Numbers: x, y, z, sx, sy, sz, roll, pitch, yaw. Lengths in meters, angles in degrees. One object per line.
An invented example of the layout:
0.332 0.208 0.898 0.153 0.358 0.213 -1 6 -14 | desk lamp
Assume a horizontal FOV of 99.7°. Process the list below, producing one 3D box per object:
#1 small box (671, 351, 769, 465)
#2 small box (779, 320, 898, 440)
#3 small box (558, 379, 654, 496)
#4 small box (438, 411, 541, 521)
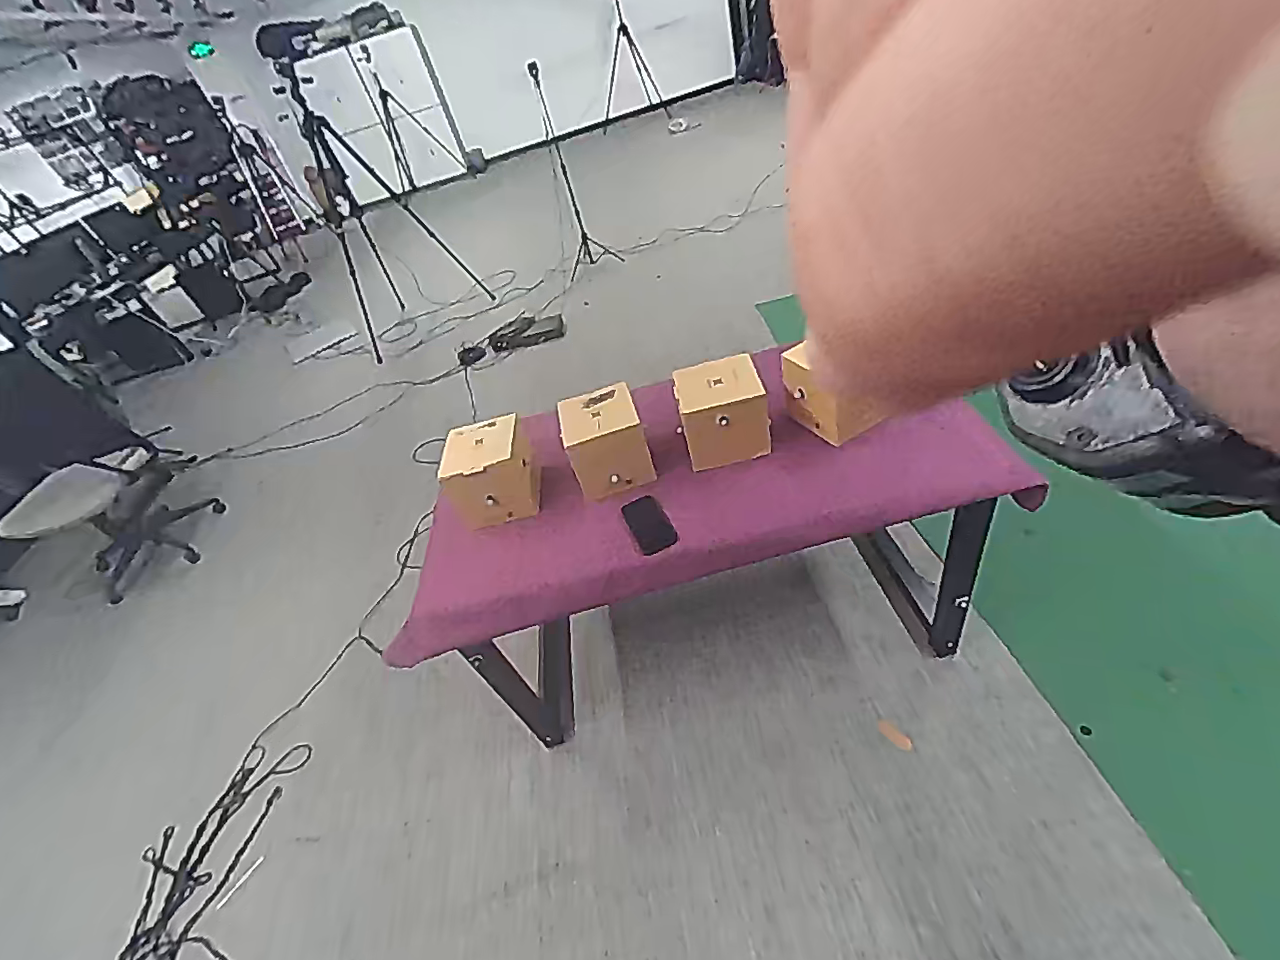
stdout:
0.176 -0.153 1.189 0.179 0.176 0.168 -12 42 7 | small box
0.426 -0.213 1.162 0.179 0.176 0.168 -29 42 -12 | small box
-0.076 -0.094 1.215 0.168 0.176 0.179 -18 42 1 | small box
-0.334 -0.025 1.235 0.168 0.176 0.179 -14 42 5 | small box
